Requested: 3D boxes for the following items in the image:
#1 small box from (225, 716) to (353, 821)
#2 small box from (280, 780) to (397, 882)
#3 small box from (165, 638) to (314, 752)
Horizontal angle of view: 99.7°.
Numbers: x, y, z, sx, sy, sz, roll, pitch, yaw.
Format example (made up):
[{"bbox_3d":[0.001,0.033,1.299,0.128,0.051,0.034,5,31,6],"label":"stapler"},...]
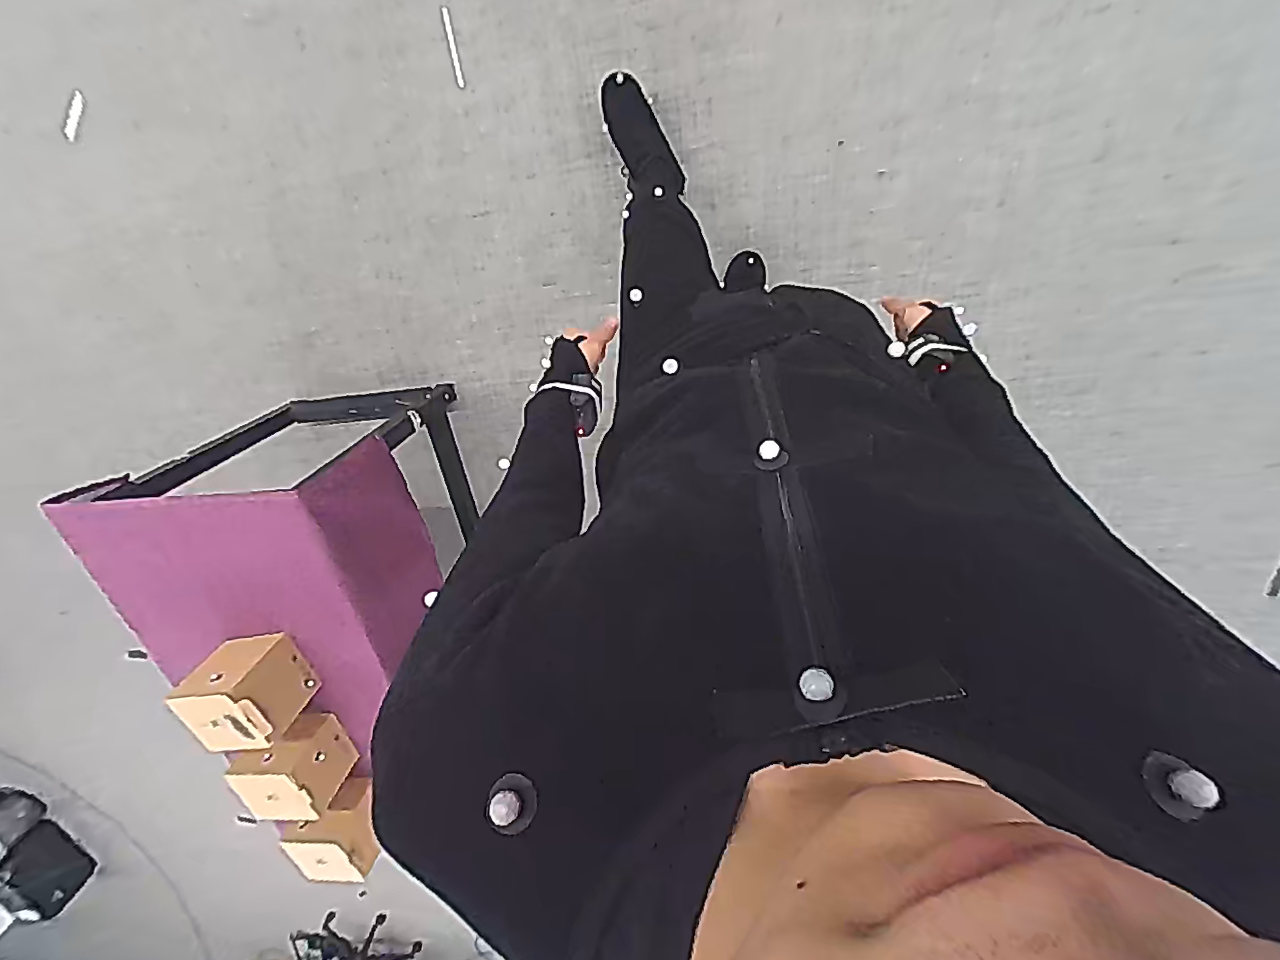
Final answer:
[{"bbox_3d":[-0.832,0.692,1.309,0.179,0.176,0.168,-6,116,11],"label":"small box"},{"bbox_3d":[-0.778,0.913,1.415,0.179,0.176,0.168,-8,117,11],"label":"small box"},{"bbox_3d":[-0.863,0.469,1.193,0.179,0.176,0.168,-11,116,14],"label":"small box"}]
